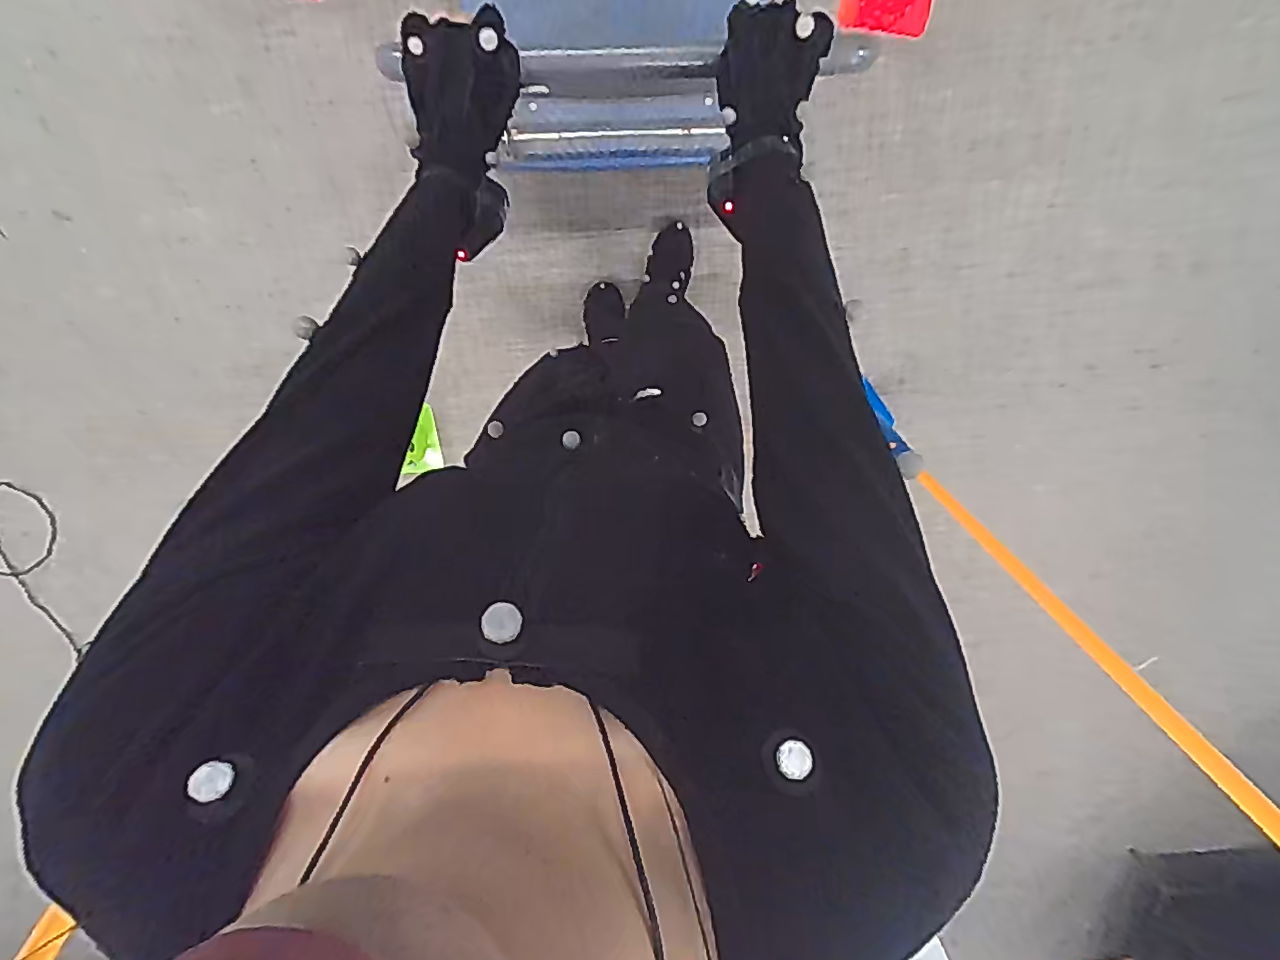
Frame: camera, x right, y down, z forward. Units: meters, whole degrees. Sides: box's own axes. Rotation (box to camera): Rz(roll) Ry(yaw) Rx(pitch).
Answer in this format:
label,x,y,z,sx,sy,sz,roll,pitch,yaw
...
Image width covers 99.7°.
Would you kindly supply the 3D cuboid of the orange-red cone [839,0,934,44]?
label,x,y,z,sx,sy,sz,roll,pitch,yaw
orange-red cone,0.546,-1.003,1.000,0.198,0.360,0.199,7,111,-4
